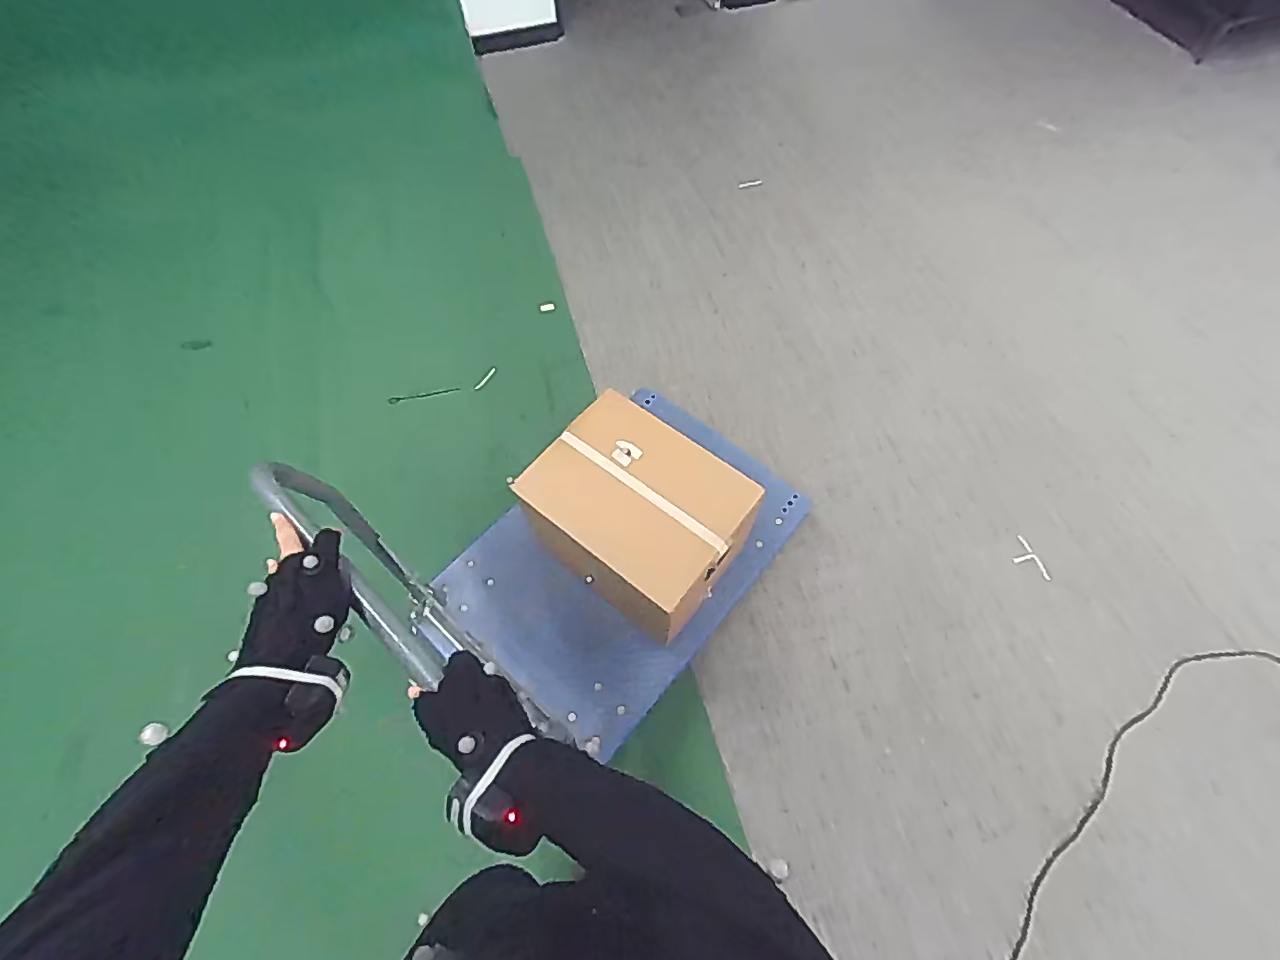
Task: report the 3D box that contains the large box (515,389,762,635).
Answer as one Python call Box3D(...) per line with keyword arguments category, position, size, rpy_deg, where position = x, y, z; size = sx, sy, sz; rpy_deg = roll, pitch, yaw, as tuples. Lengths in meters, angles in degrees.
Box3D(category="large box", position=(0.002, 0.079, 1.205), size=(0.408, 0.320, 0.320), rpy_deg=(35, 68, 18))
